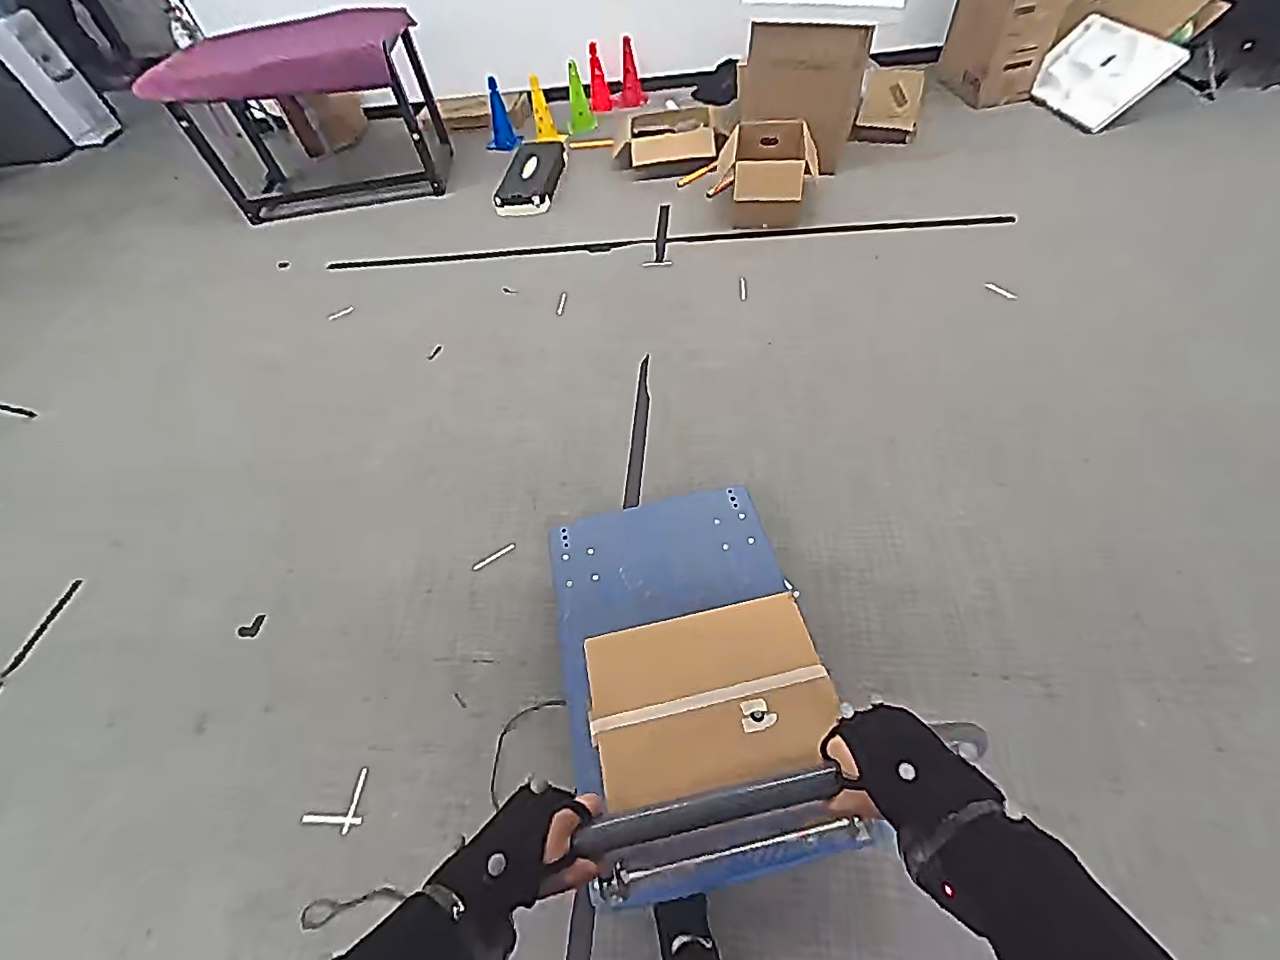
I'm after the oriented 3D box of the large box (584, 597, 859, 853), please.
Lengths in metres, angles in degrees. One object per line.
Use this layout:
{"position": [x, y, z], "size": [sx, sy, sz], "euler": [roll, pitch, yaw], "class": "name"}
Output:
{"position": [0.131, 0.471, 1.032], "size": [0.408, 0.320, 0.320], "euler": [-12, 52, -3], "class": "large box"}
